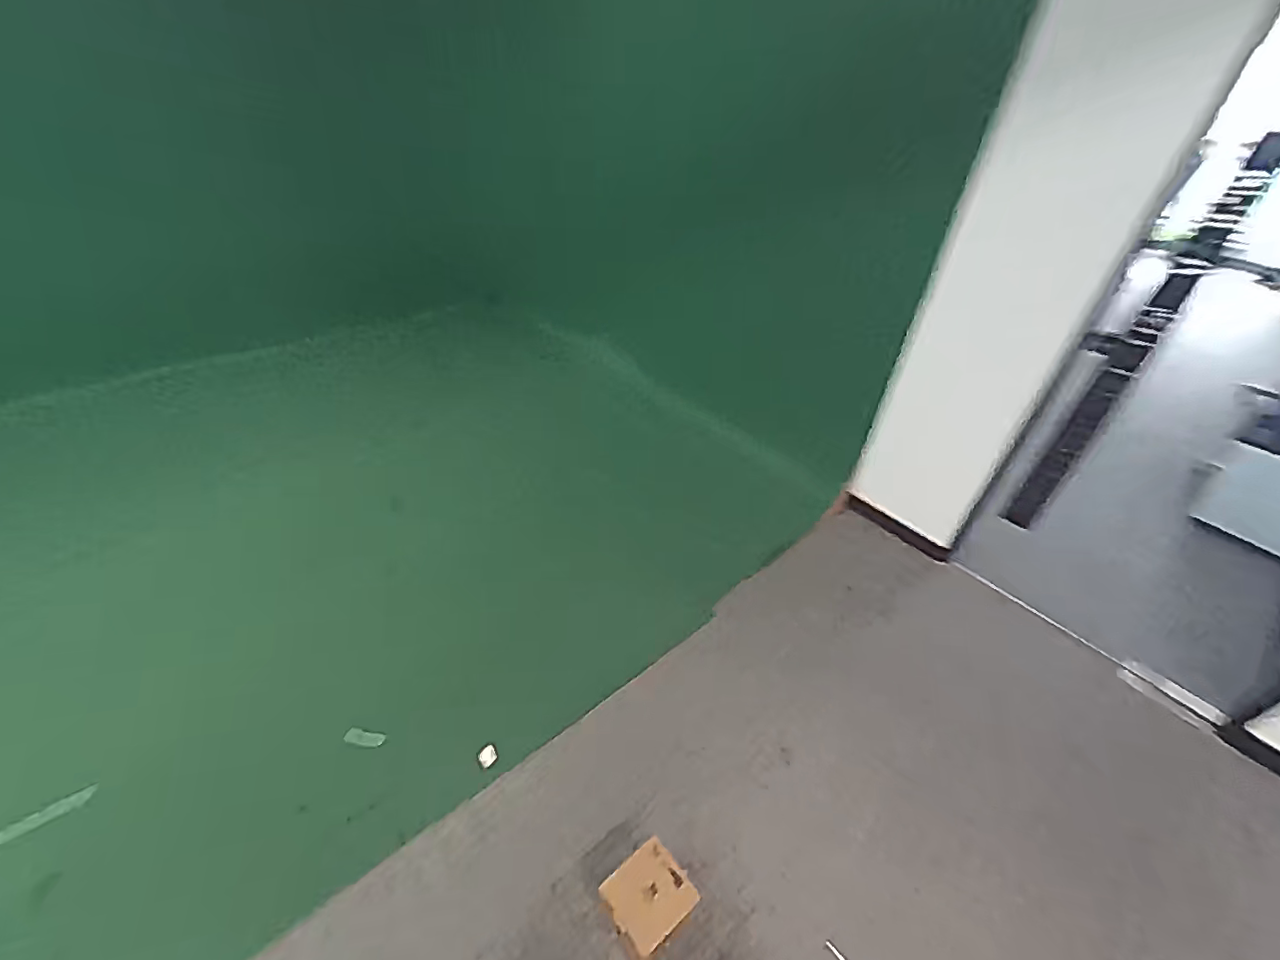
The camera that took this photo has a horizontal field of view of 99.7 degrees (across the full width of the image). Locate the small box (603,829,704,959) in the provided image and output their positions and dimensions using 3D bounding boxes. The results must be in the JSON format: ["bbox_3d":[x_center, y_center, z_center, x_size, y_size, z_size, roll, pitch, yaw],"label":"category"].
[{"bbox_3d":[0.029,0.982,1.274,0.179,0.176,0.168,-25,48,-29],"label":"small box"}]
